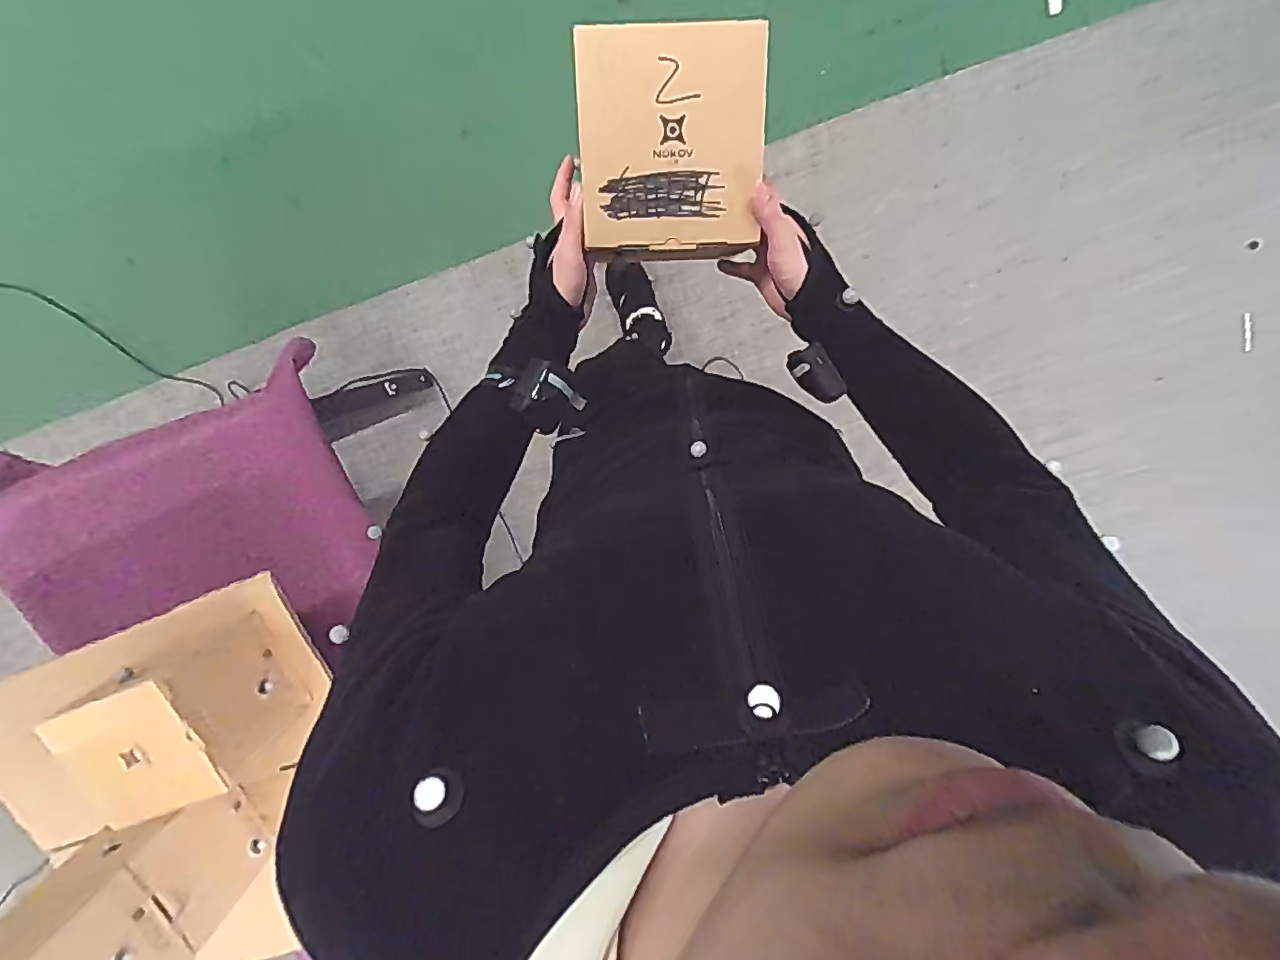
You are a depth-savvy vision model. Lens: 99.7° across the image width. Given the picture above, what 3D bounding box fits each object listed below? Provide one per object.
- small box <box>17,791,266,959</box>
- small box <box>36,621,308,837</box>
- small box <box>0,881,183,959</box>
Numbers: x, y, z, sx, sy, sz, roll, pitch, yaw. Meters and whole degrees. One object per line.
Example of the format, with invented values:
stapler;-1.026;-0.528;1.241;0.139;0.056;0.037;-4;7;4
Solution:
small box;-0.687;0.573;0.776;0.179;0.176;0.168;-21;101;7
small box;-0.595;0.316;0.715;0.179;0.176;0.168;-21;102;5
small box;-0.693;0.613;0.617;0.179;0.176;0.168;-22;102;5
